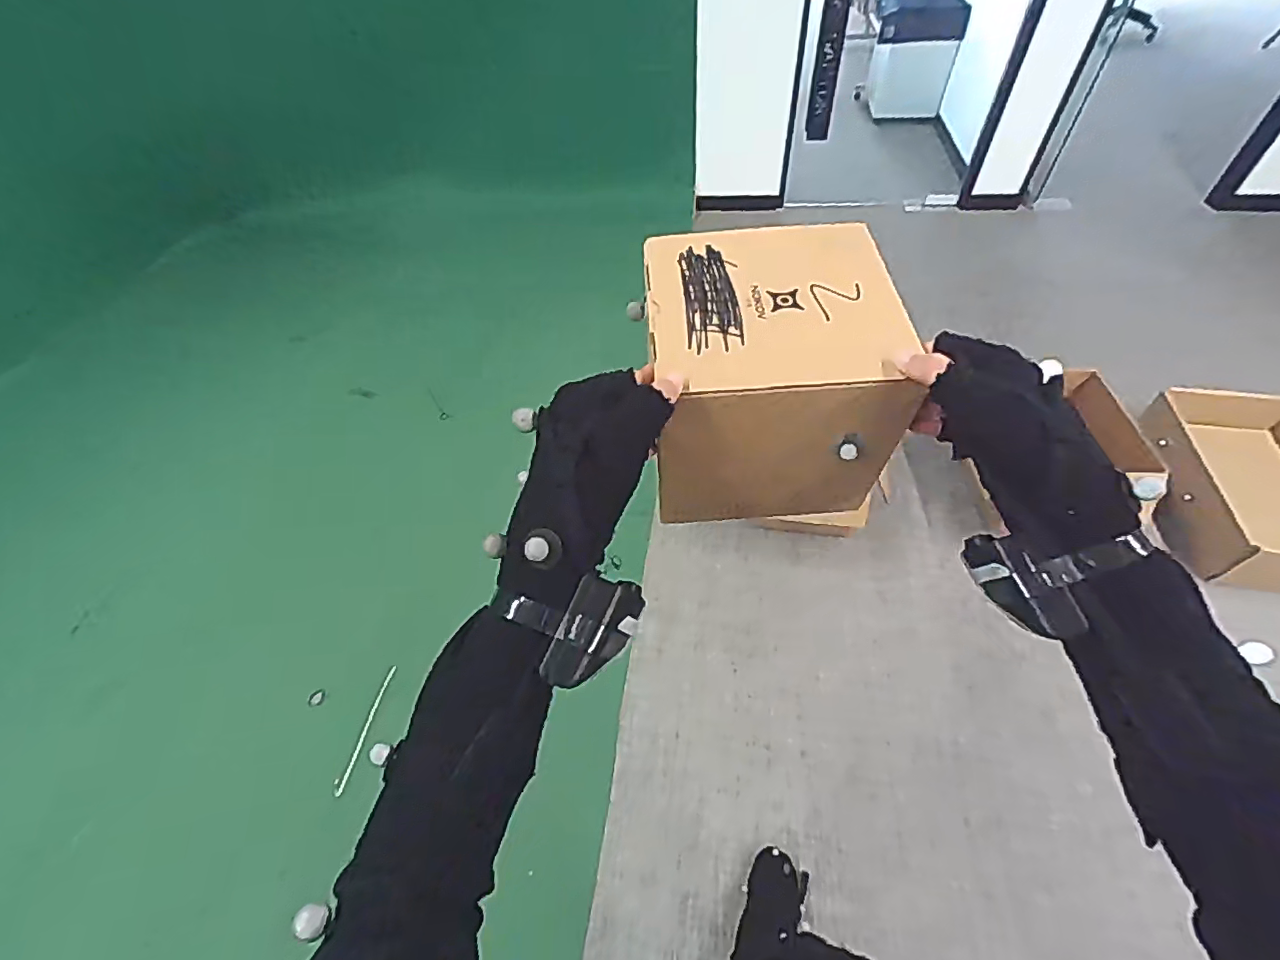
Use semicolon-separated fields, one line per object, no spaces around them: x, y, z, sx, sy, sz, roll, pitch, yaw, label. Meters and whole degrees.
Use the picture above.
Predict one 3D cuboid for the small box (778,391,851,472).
0.523;-0.142;1.624;0.179;0.176;0.168;9;51;10;small box
